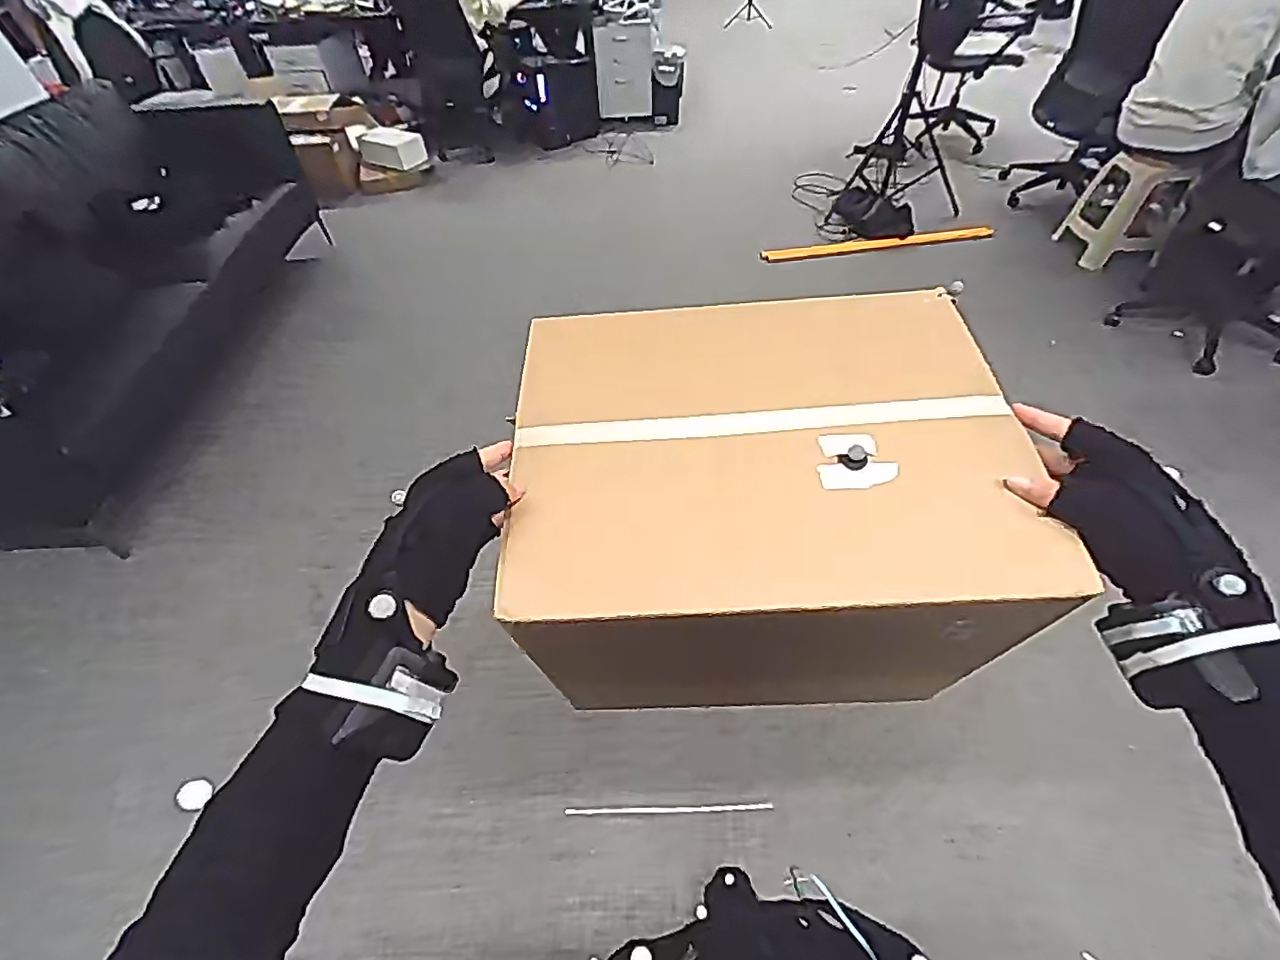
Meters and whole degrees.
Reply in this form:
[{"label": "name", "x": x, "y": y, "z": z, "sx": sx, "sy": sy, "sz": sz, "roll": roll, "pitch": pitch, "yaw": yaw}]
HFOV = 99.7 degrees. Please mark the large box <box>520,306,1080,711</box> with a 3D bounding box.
[{"label": "large box", "x": 0.112, "y": 0.046, "z": 0.585, "sx": 0.408, "sy": 0.320, "sz": 0.320, "roll": -3, "pitch": 56, "yaw": 2}]
